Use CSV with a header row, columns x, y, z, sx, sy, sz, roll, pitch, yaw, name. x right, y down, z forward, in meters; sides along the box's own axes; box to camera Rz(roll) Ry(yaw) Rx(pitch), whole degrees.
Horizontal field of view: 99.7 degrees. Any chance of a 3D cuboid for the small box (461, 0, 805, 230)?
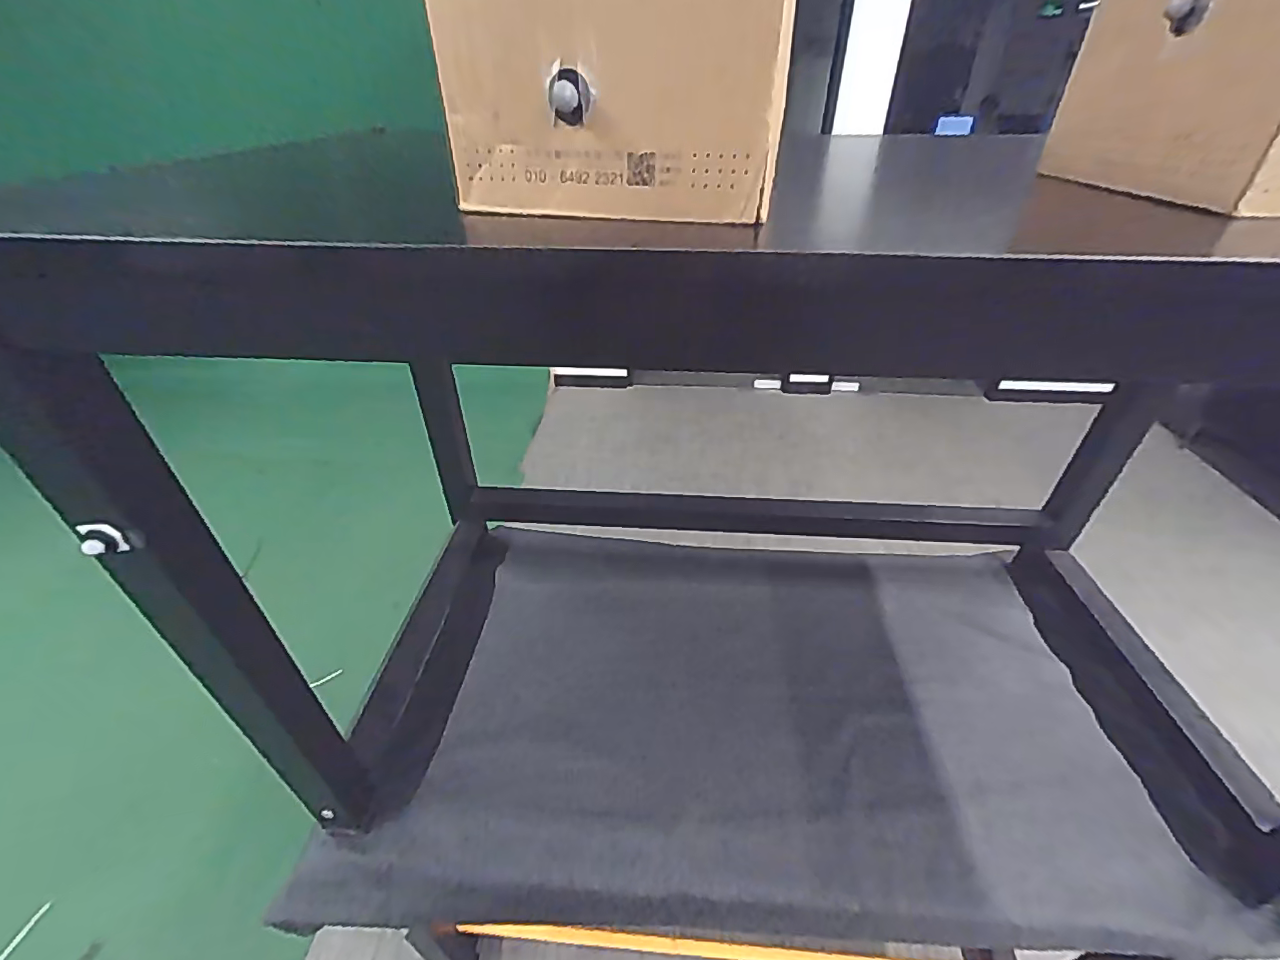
x,y,z,sx,sy,sz,roll,pitch,yaw,name
0.006,-0.255,0.307,0.168,0.176,0.179,8,37,10,small box
